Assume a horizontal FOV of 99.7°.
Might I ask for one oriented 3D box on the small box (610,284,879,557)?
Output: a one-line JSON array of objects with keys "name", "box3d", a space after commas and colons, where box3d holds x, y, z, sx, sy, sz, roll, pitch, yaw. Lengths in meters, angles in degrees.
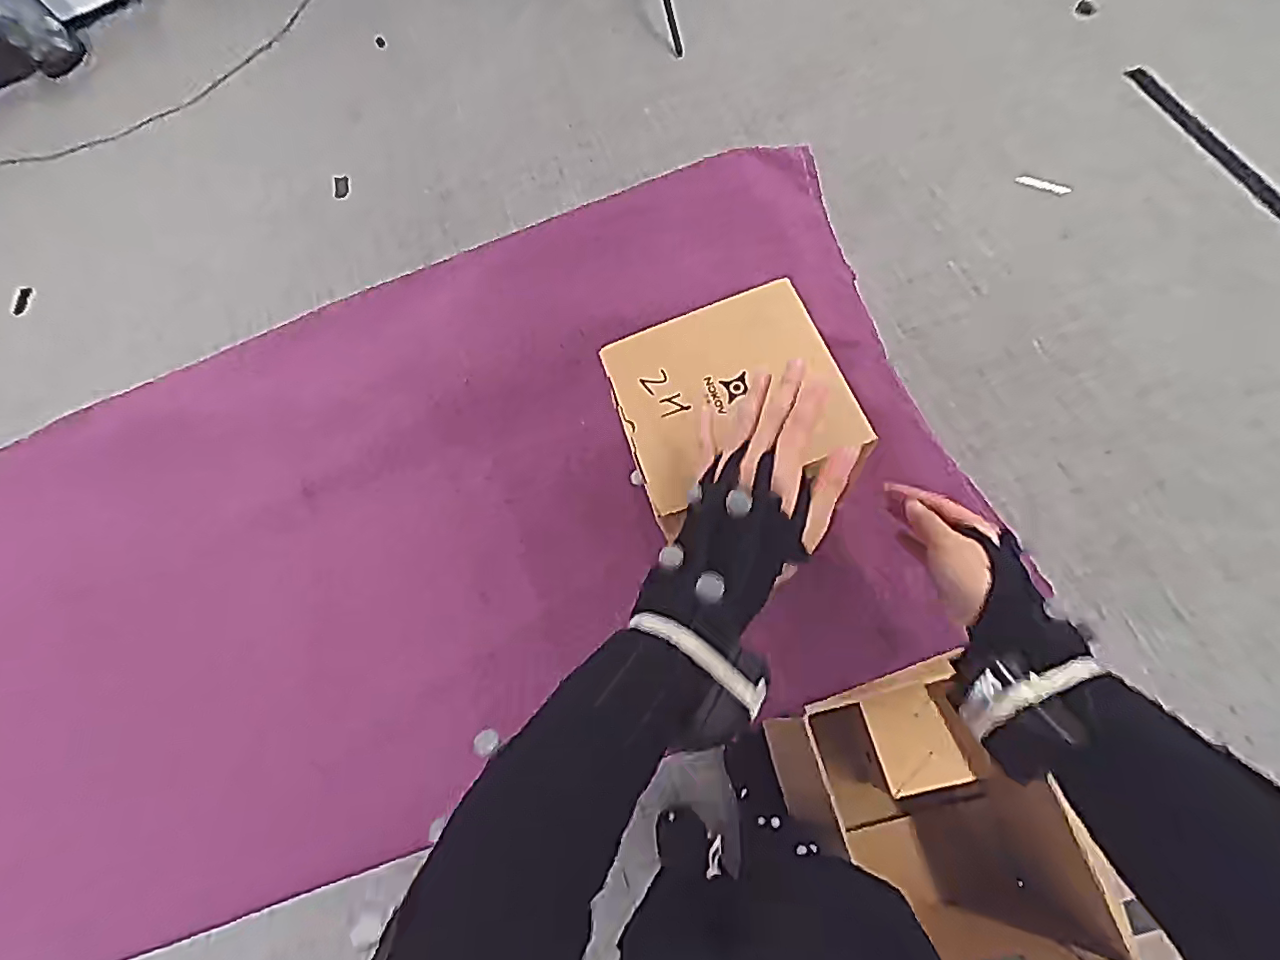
[{"name": "small box", "box3d": [0.089, -0.043, 0.512, 0.179, 0.176, 0.168, -20, 67, 3]}]
